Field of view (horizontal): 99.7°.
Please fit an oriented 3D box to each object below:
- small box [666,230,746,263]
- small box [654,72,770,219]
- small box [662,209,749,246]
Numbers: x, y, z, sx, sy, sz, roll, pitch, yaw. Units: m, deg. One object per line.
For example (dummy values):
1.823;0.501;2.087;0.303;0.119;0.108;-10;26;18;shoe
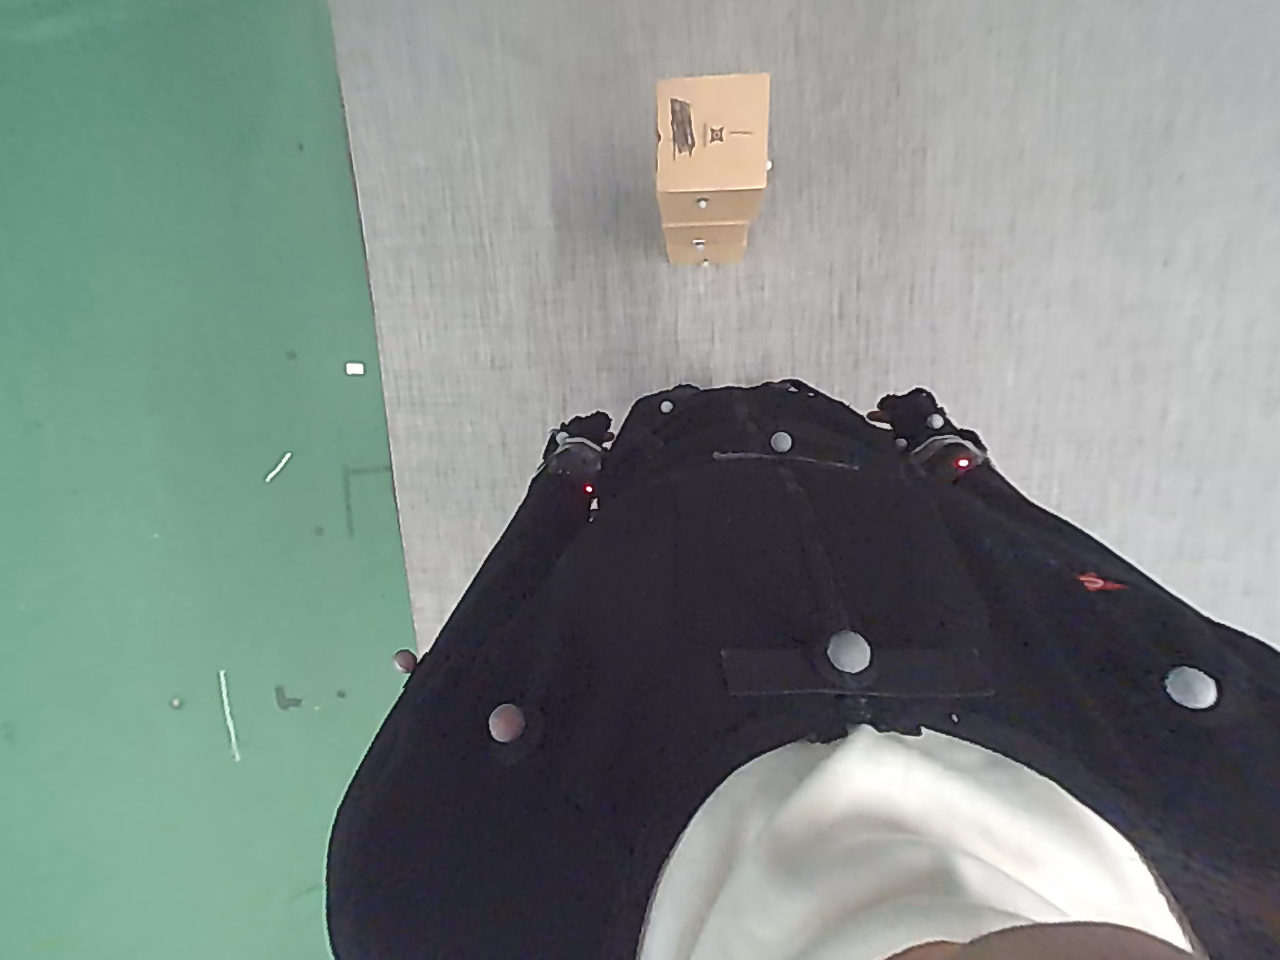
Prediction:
0.152;-0.607;1.247;0.179;0.176;0.168;2;100;6;small box
0.121;-0.557;0.925;0.179;0.176;0.168;2;100;7;small box
0.133;-0.585;1.087;0.168;0.176;0.179;1;101;8;small box
